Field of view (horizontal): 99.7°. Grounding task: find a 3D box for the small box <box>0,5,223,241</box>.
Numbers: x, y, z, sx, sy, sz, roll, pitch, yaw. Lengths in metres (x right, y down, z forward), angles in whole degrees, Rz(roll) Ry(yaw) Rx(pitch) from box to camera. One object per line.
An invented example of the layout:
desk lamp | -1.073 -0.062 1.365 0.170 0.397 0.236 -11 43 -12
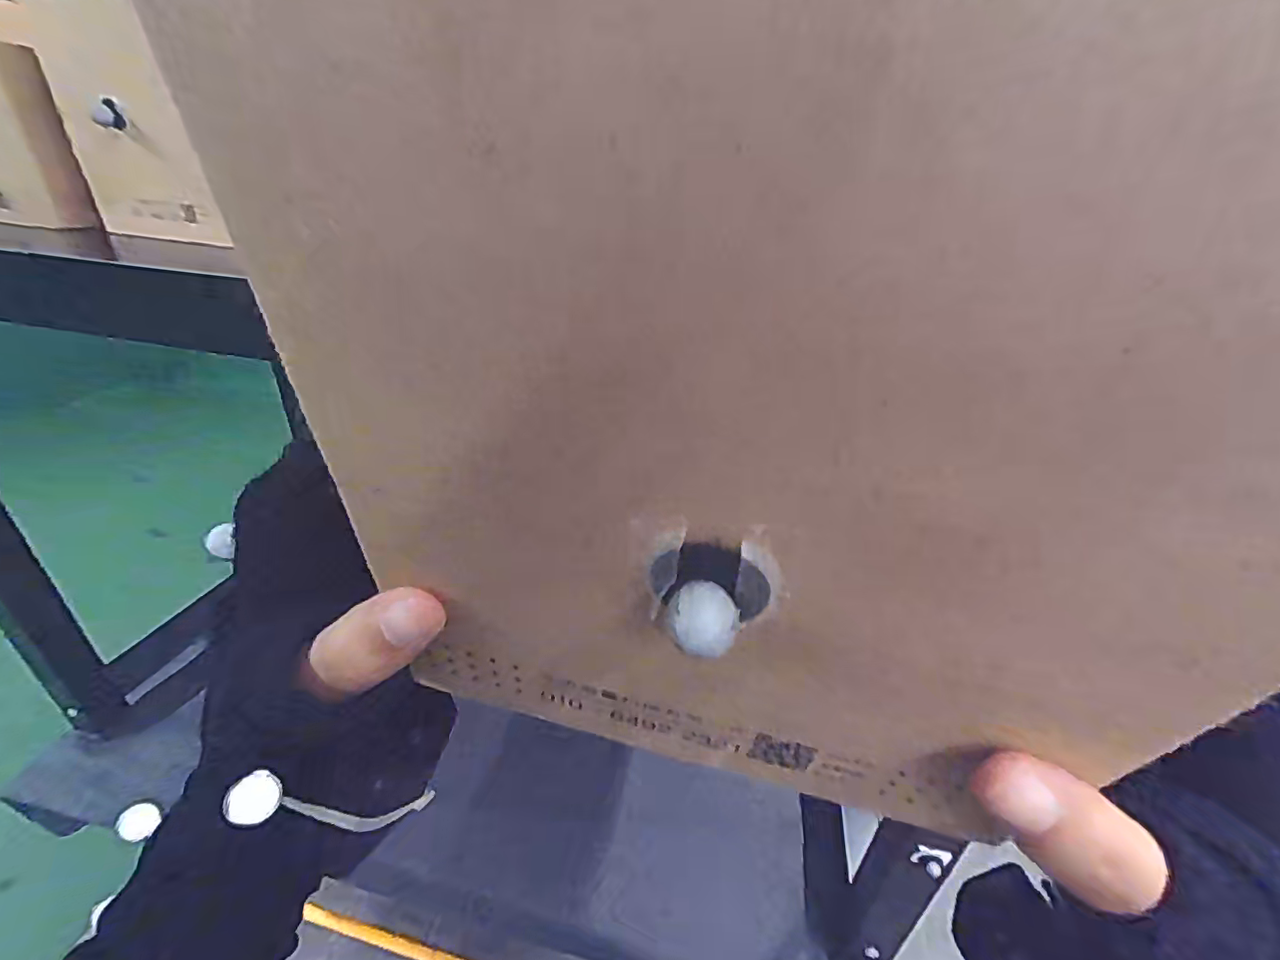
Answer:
small box | -0.559 -0.342 0.532 0.168 0.176 0.179 10 31 11
